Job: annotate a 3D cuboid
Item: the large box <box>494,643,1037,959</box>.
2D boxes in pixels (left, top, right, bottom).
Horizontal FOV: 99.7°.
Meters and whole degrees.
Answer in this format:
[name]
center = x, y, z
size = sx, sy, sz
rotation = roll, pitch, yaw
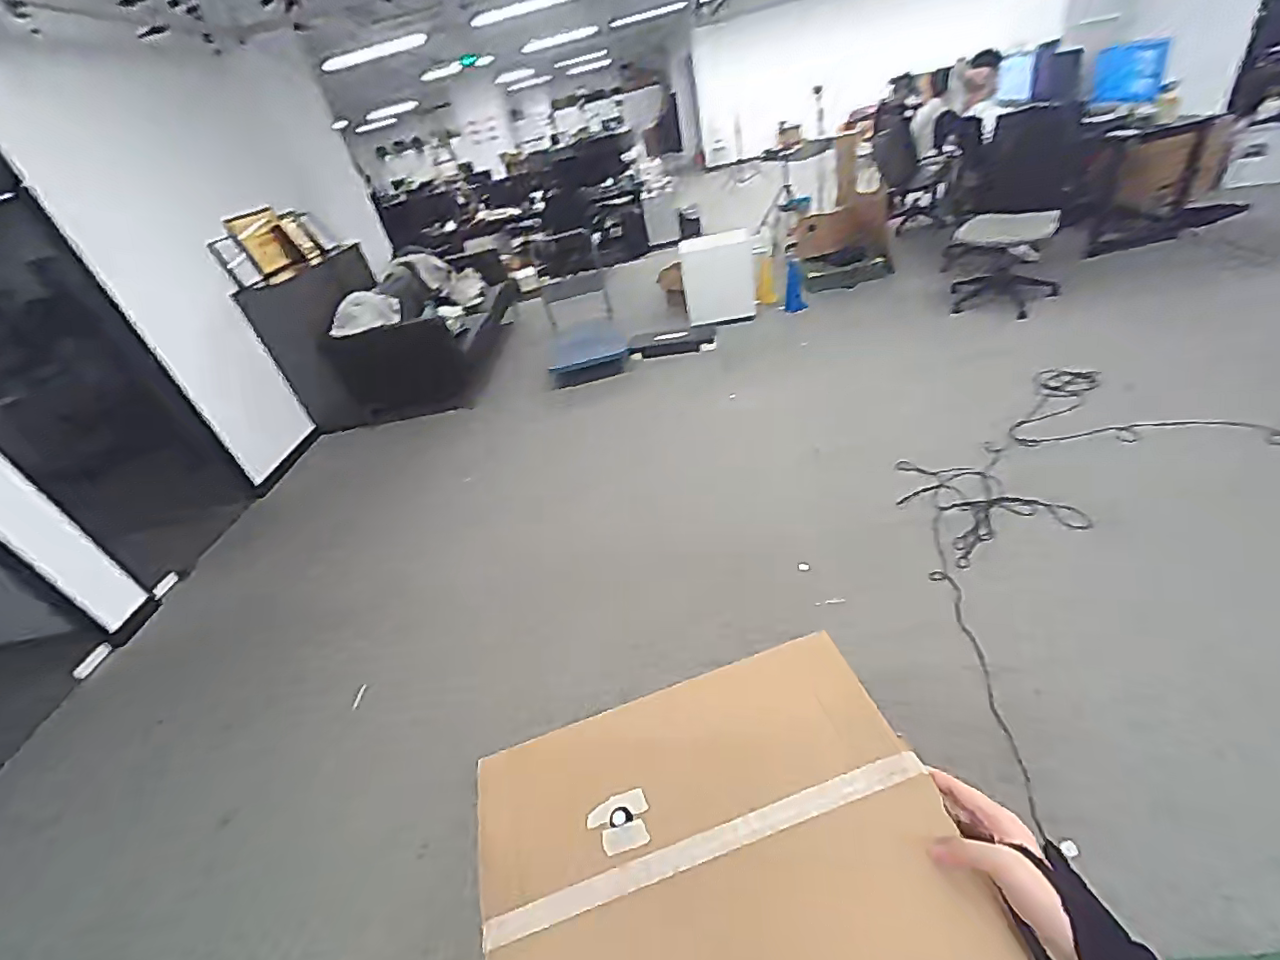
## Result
[large box]
center = 0.104, 0.447, 0.573
size = 0.408, 0.320, 0.320
rotation = -21, 39, -2
